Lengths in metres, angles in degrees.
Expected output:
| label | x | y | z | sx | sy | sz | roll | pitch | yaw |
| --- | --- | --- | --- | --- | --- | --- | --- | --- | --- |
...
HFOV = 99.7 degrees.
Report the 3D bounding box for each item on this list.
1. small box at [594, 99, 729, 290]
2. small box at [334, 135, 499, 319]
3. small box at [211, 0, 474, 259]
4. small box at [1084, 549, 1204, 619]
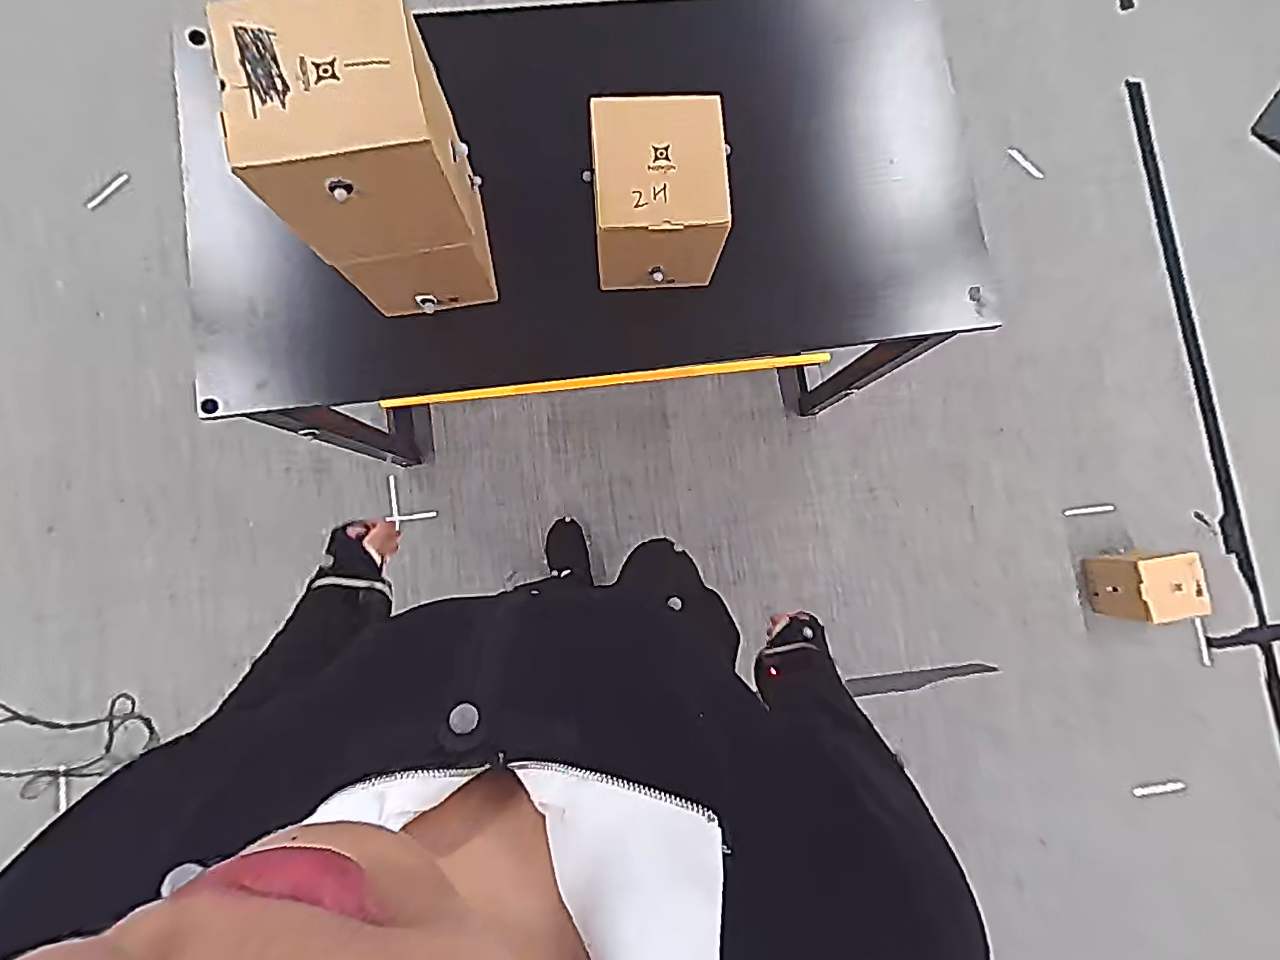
| label | x | y | z | sx | sy | sz | roll | pitch | yaw |
| --- | --- | --- | --- | --- | --- | --- | --- | --- | --- |
| small box | 0.020 | -0.386 | 0.751 | 0.168 | 0.176 | 0.179 | -3 | 85 | -3 |
| small box | -0.300 | -0.342 | 0.729 | 0.168 | 0.176 | 0.179 | -11 | 86 | -3 |
| small box | -0.292 | -0.354 | 0.565 | 0.179 | 0.176 | 0.168 | -12 | 85 | -4 |
| small box | 1.386 | 0.284 | 1.505 | 0.179 | 0.176 | 0.168 | -8 | 85 | -4 |
